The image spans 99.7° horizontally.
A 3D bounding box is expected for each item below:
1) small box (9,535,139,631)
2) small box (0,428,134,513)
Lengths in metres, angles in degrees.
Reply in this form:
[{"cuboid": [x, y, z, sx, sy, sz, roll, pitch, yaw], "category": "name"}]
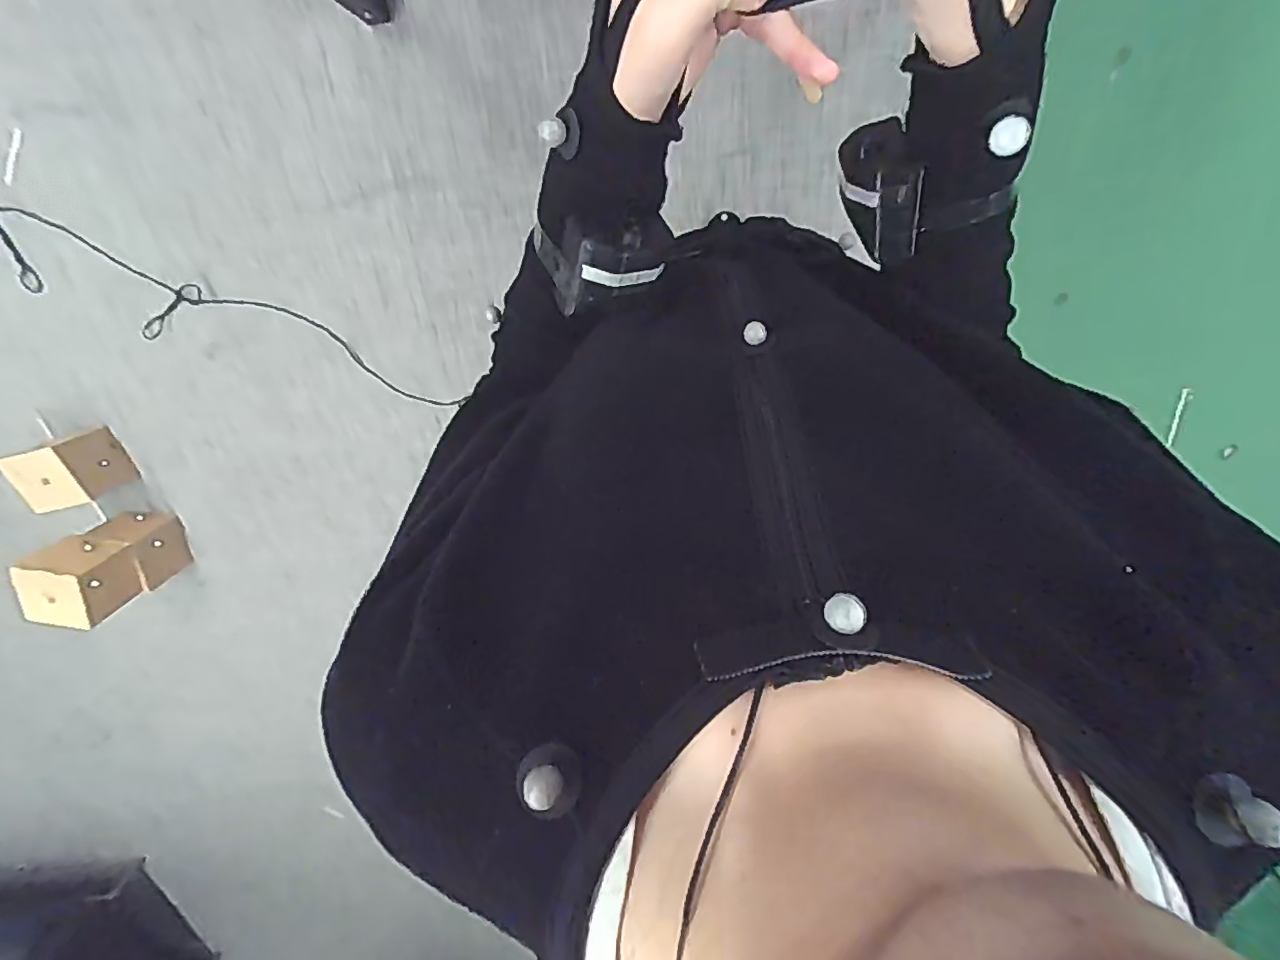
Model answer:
[{"cuboid": [-1.523, 0.277, 1.471, 0.168, 0.176, 0.179, 11, 113, -3], "category": "small box"}, {"cuboid": [-1.578, -0.031, 1.505, 0.179, 0.176, 0.168, -11, 114, 6], "category": "small box"}]
